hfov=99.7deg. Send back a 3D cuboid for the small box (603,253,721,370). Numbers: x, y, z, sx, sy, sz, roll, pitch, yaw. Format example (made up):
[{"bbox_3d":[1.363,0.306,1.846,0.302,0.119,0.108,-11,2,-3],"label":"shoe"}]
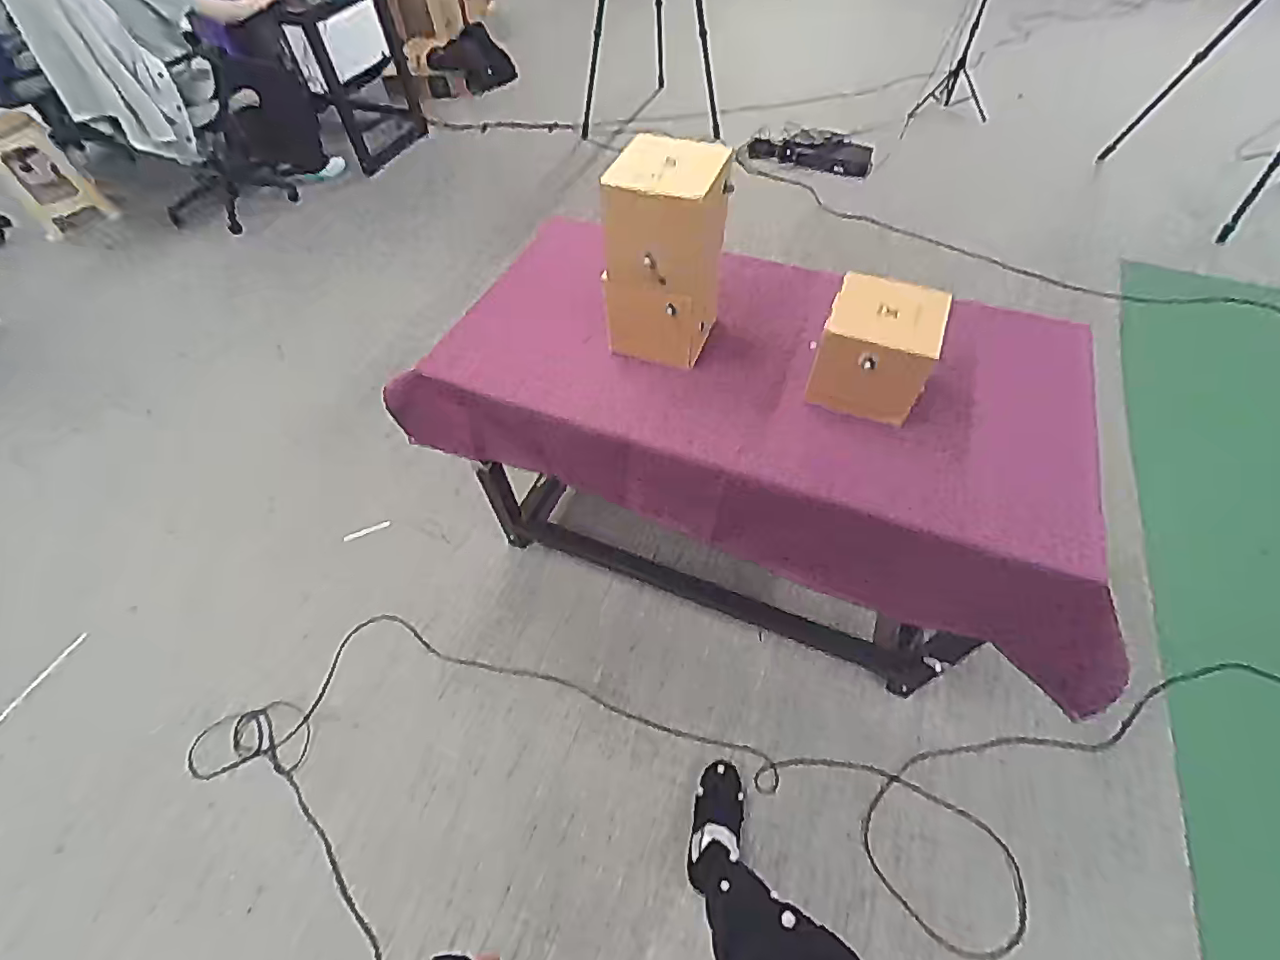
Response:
[{"bbox_3d":[0.044,-0.337,1.046,0.179,0.176,0.168,17,57,13],"label":"small box"}]

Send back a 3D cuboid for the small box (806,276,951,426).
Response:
[{"bbox_3d":[0.405,-0.220,0.940,0.179,0.176,0.168,20,58,16],"label":"small box"}]

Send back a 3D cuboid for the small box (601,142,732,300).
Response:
[{"bbox_3d":[0.046,-0.435,0.913,0.168,0.176,0.179,16,56,14],"label":"small box"}]
